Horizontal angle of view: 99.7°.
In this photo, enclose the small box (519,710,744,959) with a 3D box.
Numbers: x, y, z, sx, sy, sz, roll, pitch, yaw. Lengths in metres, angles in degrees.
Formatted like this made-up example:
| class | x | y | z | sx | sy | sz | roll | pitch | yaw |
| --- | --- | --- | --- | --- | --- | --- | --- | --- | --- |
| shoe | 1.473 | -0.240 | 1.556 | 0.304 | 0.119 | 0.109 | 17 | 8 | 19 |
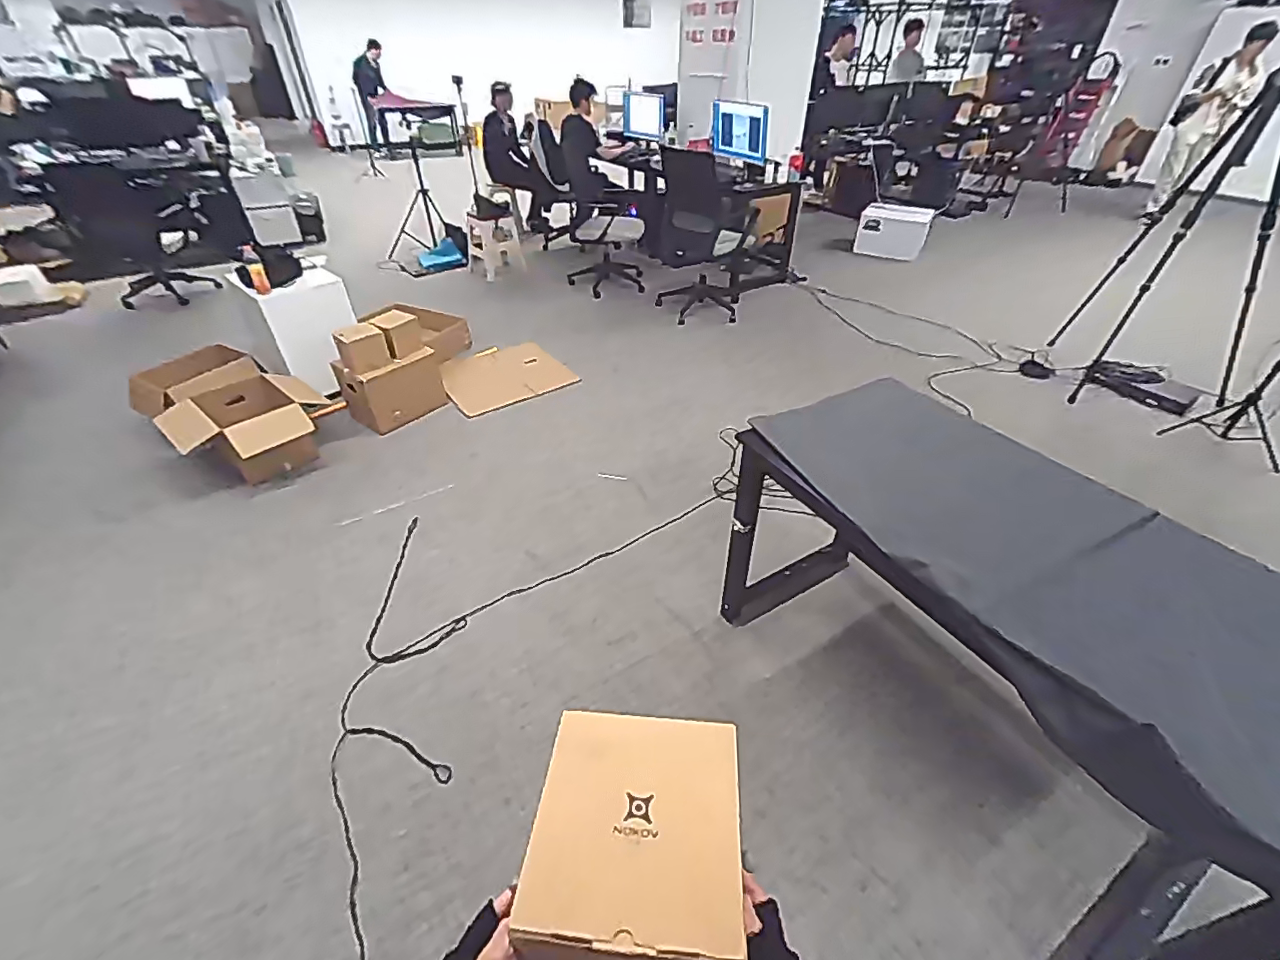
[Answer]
| class | x | y | z | sx | sy | sz | roll | pitch | yaw |
| --- | --- | --- | --- | --- | --- | --- | --- | --- | --- |
| small box | 0.002 | 0.344 | 0.494 | 0.168 | 0.176 | 0.179 | 2 | 33 | 6 |
